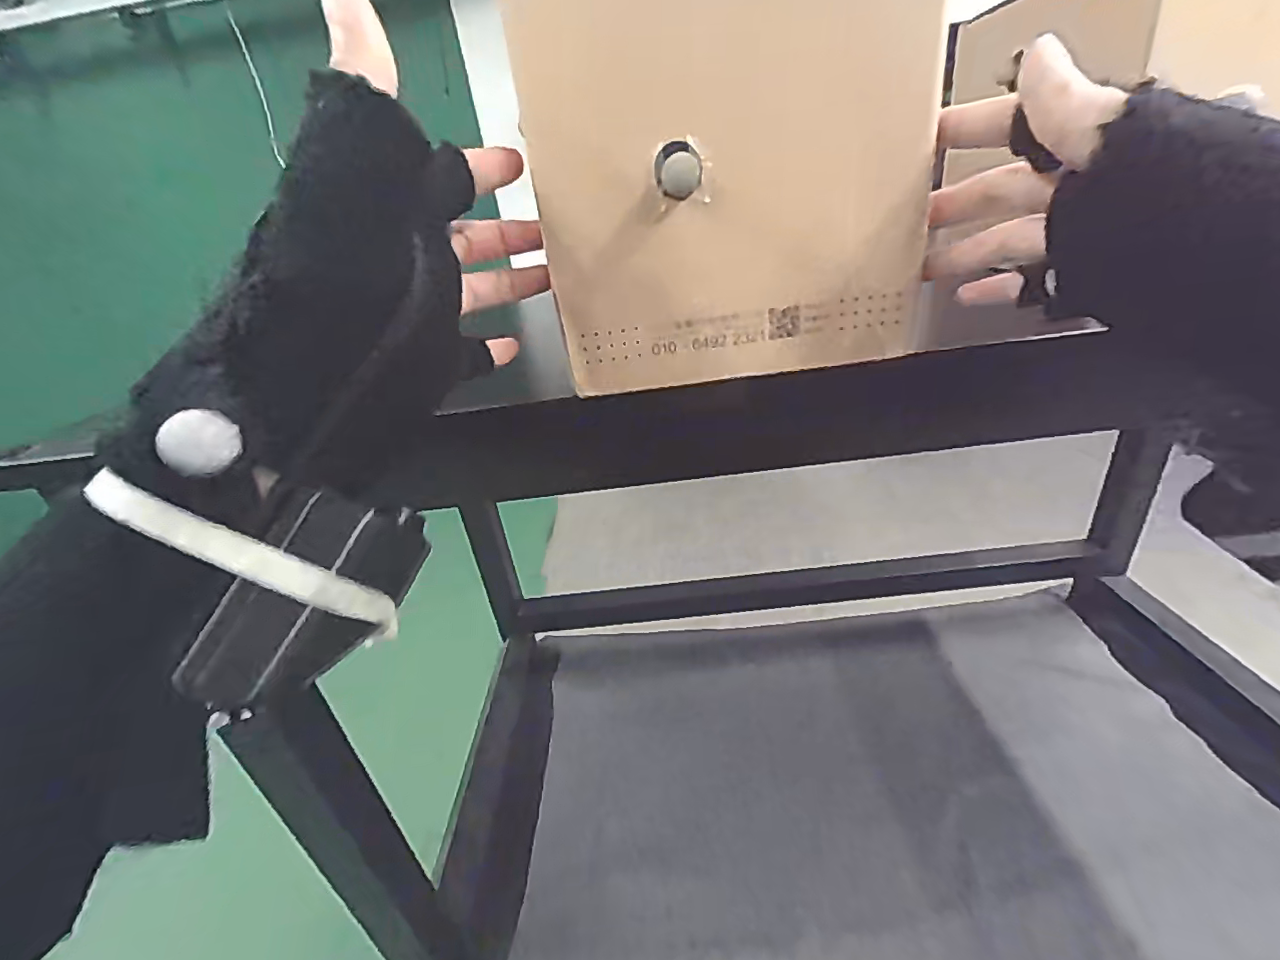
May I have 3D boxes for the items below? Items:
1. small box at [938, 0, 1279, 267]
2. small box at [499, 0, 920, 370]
[{"bbox_3d":[0.335,-0.249,0.374,0.168,0.176,0.179,-9,27,0],"label":"small box"},{"bbox_3d":[0.039,-0.165,0.302,0.168,0.176,0.179,-7,26,3],"label":"small box"}]
